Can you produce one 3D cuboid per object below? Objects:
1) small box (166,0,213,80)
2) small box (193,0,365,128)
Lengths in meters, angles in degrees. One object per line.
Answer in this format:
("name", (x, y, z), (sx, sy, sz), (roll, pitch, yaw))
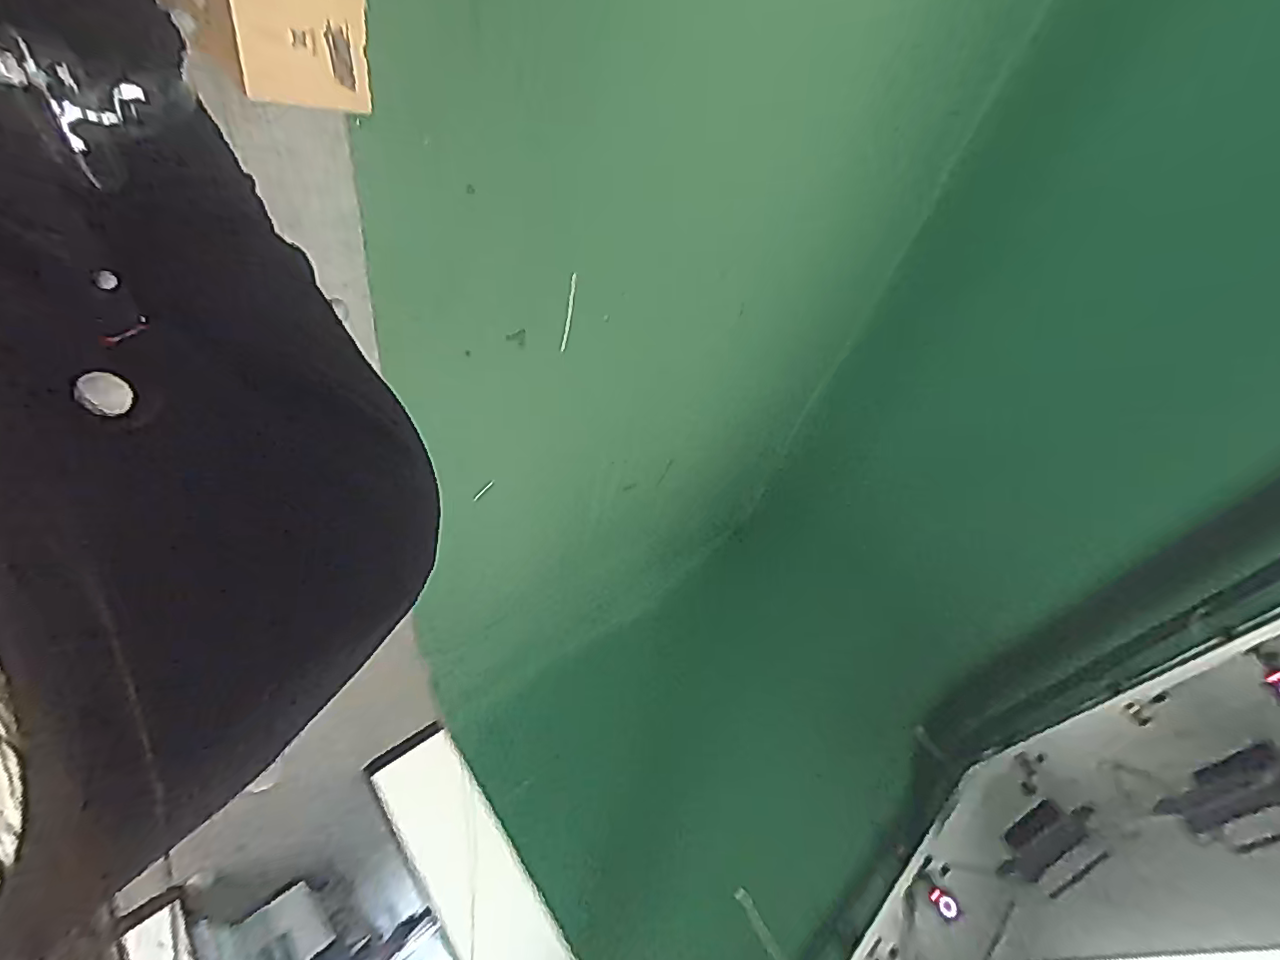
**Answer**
("small box", (-0.648, -0.763, 0.882), (0.179, 0.176, 0.168), (-22, 145, -37))
("small box", (-0.540, -0.660, 0.813), (0.179, 0.176, 0.168), (-21, 144, -39))
